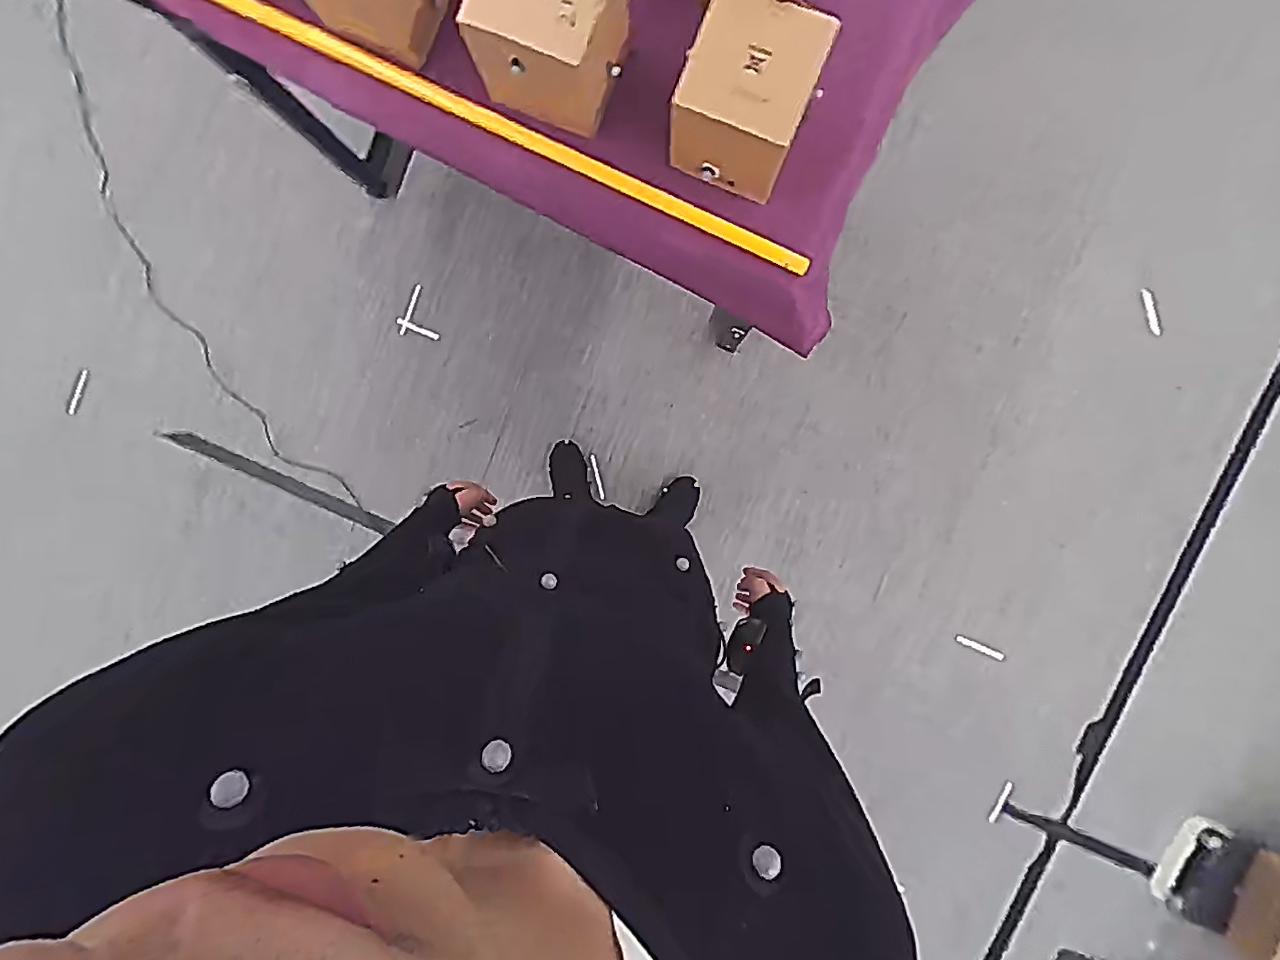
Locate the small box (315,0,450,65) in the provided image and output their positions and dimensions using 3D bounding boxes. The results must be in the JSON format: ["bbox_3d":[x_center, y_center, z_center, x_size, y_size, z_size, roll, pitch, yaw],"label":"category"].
[{"bbox_3d":[-0.387,-0.762,0.776,0.168,0.176,0.179,24,94,2],"label":"small box"}]

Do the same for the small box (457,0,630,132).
[{"bbox_3d":[-0.125,-0.645,0.774,0.179,0.176,0.168,23,93,1],"label":"small box"}]

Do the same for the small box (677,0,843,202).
[{"bbox_3d":[0.155,-0.541,0.770,0.168,0.176,0.179,23,93,2],"label":"small box"}]
